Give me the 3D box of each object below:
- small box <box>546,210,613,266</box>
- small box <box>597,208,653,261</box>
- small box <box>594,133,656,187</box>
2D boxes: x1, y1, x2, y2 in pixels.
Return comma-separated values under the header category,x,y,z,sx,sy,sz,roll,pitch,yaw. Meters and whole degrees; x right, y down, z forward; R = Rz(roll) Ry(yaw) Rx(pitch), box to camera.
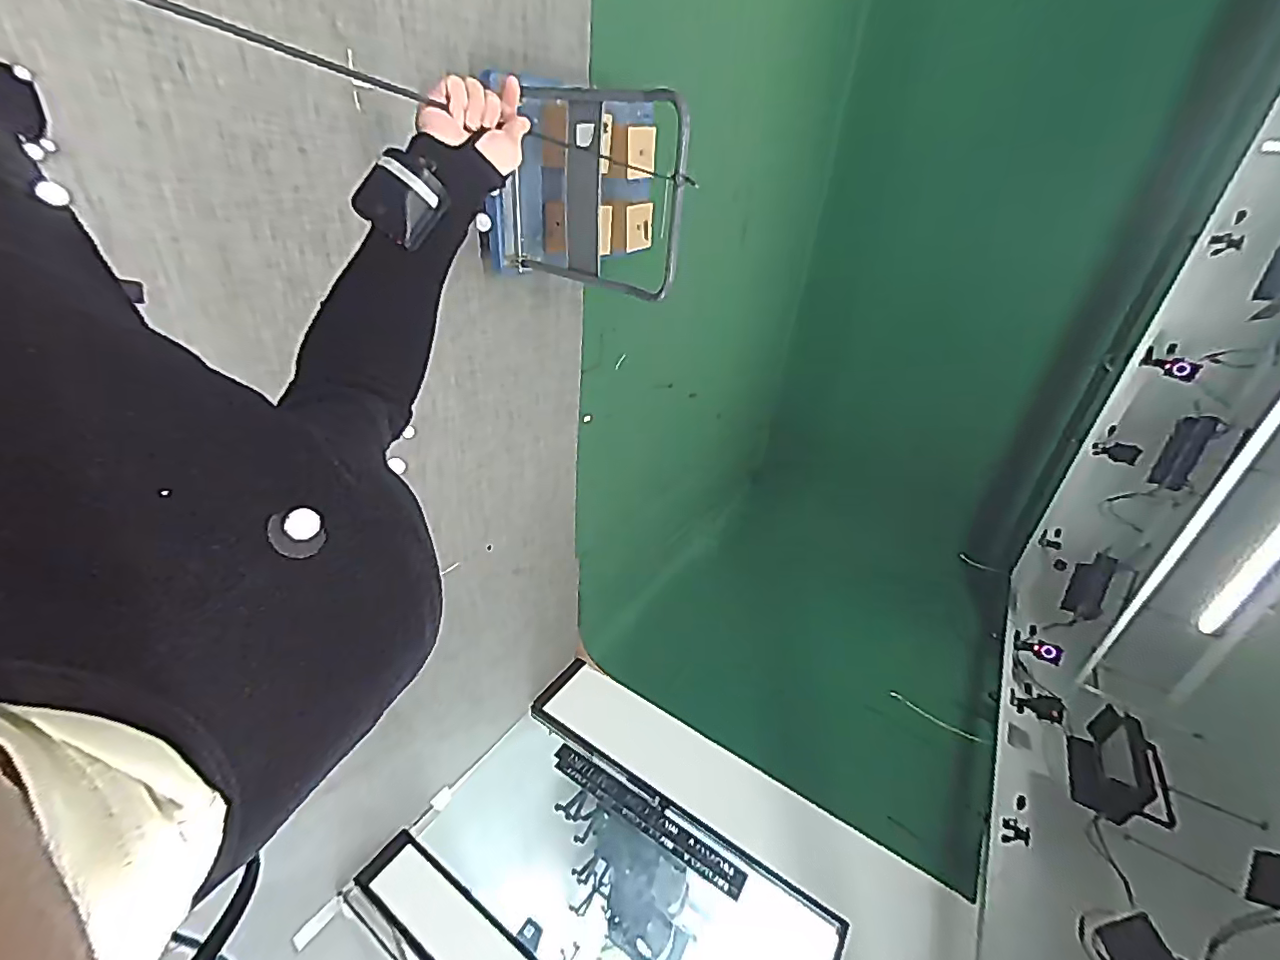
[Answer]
category,x,y,z,sx,sy,sz,roll,pitch,yaw
small box,-0.219,-0.883,1.963,0.179,0.176,0.168,-32,136,-47
small box,-0.066,-0.987,2.160,0.179,0.176,0.168,-37,138,-43
small box,-0.060,-1.196,2.021,0.179,0.176,0.168,-38,141,-44
